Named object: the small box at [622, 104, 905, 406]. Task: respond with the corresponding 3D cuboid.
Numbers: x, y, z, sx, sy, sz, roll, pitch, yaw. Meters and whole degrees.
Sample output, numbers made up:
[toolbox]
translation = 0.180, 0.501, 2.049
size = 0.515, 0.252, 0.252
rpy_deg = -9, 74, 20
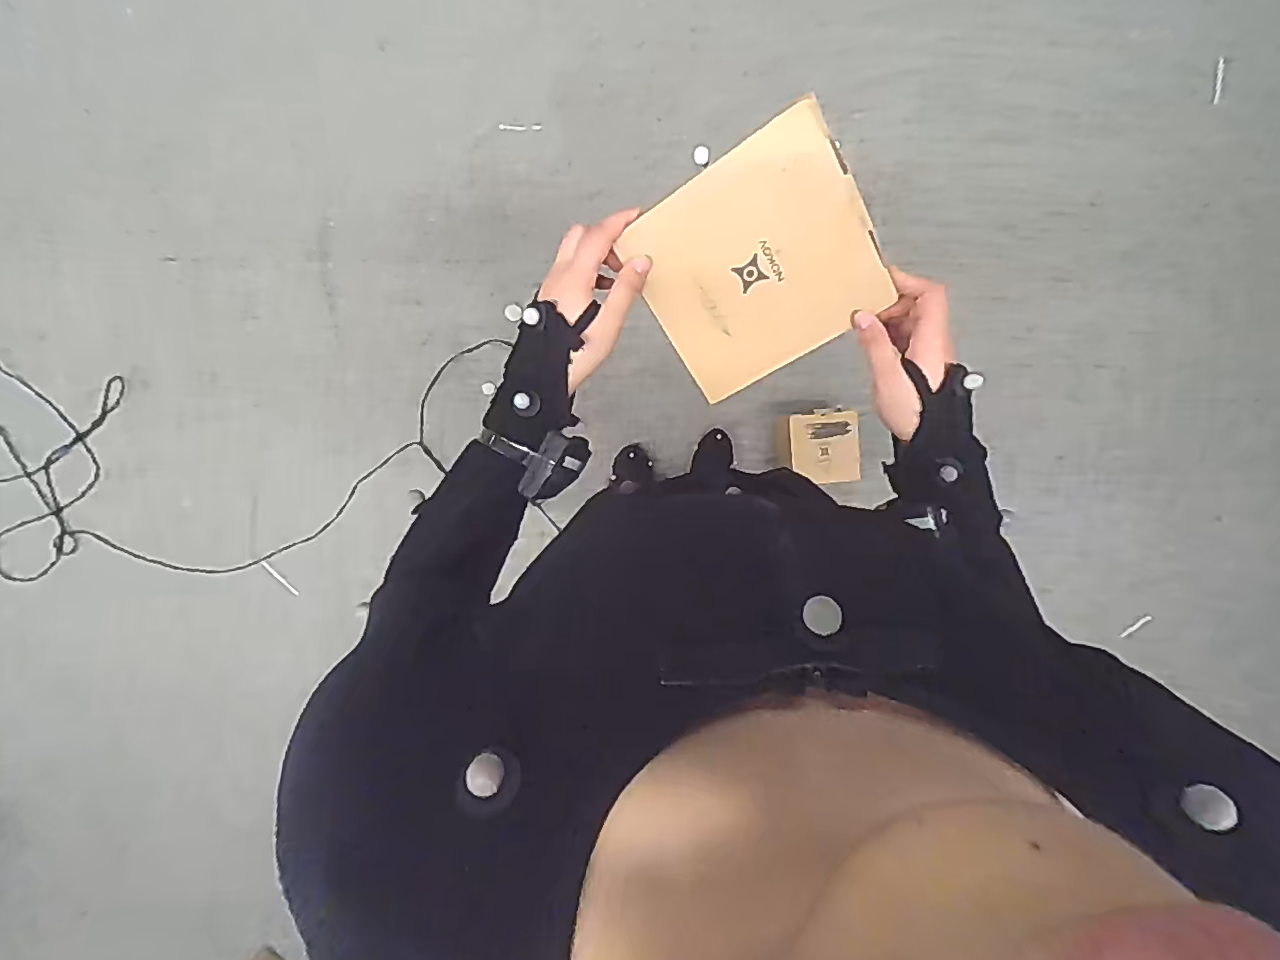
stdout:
[small box]
translation = 0.105, -0.204, 0.498
size = 0.179, 0.176, 0.168
rpy_deg = -28, 113, 21
